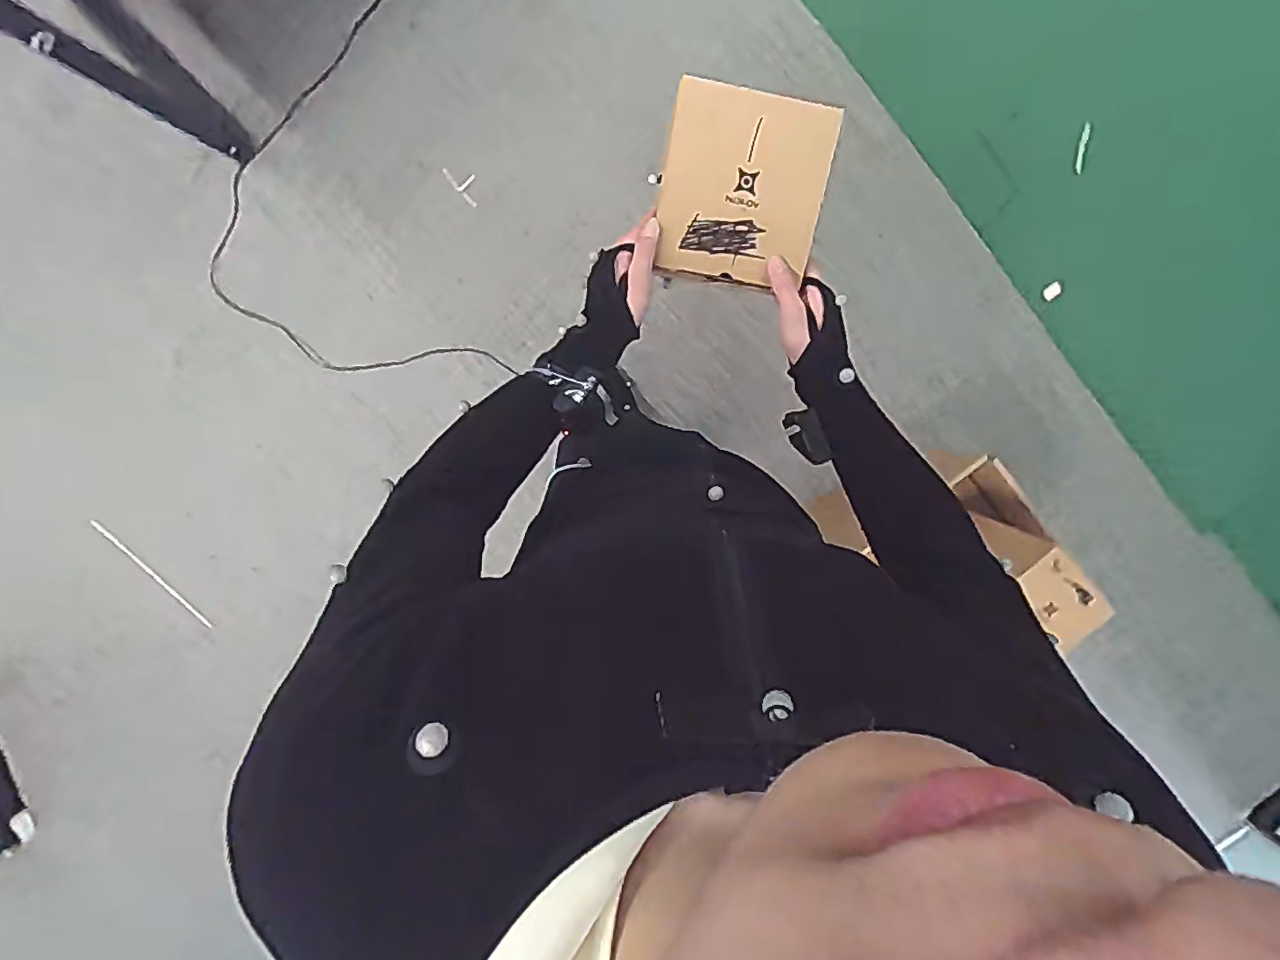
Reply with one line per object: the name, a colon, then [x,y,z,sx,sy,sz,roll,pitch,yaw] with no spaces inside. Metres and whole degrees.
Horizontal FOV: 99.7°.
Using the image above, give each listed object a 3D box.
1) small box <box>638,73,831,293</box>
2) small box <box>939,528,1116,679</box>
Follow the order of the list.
small box: [0.092,-0.318,0.621,0.168,0.176,0.179,8,107,-5]
small box: [0.686,0.216,0.989,0.179,0.176,0.168,-43,96,8]
